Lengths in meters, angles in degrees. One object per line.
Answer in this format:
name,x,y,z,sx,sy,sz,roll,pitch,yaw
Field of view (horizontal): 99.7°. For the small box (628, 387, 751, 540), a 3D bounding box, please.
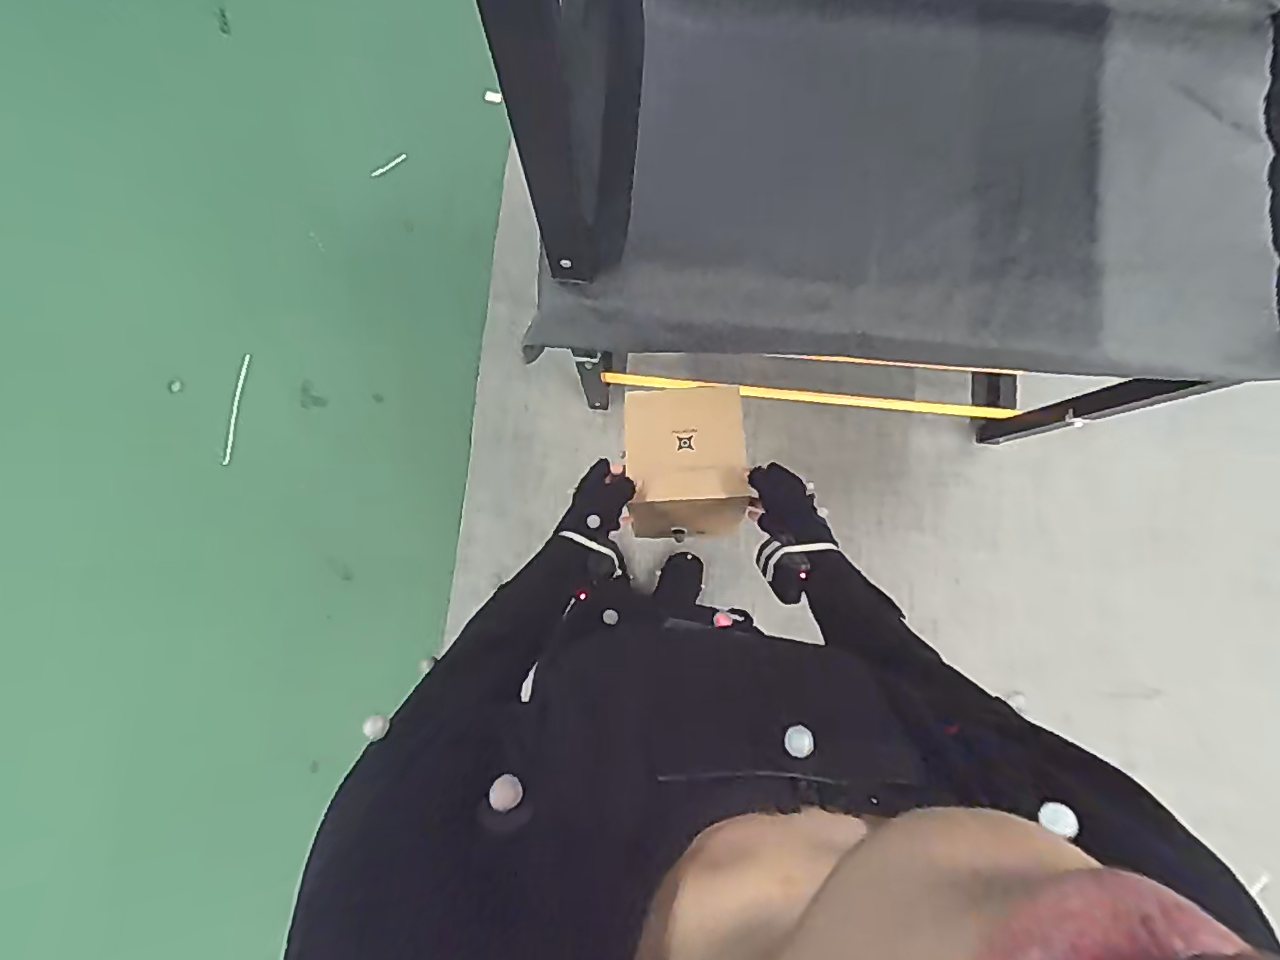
small box,0.069,-0.019,0.816,0.168,0.176,0.179,-3,67,4
